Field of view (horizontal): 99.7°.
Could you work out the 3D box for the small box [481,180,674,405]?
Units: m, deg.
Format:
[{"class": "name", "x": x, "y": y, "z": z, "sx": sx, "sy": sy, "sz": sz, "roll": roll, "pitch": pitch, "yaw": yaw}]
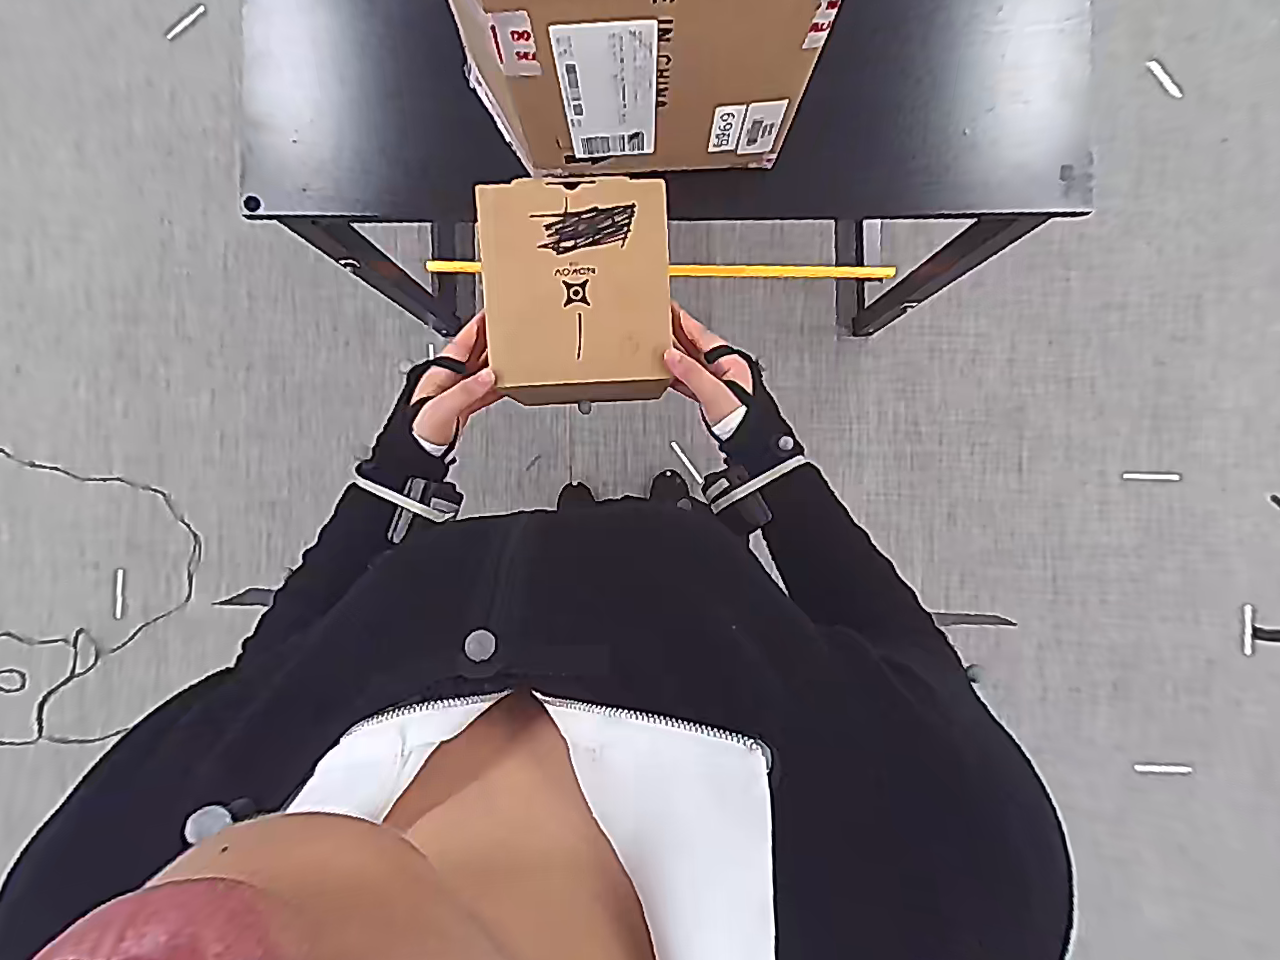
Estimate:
[{"class": "small box", "x": -0.058, "y": -0.177, "z": 0.555, "sx": 0.168, "sy": 0.176, "sz": 0.179, "roll": -3, "pitch": 92, "yaw": -2}]
